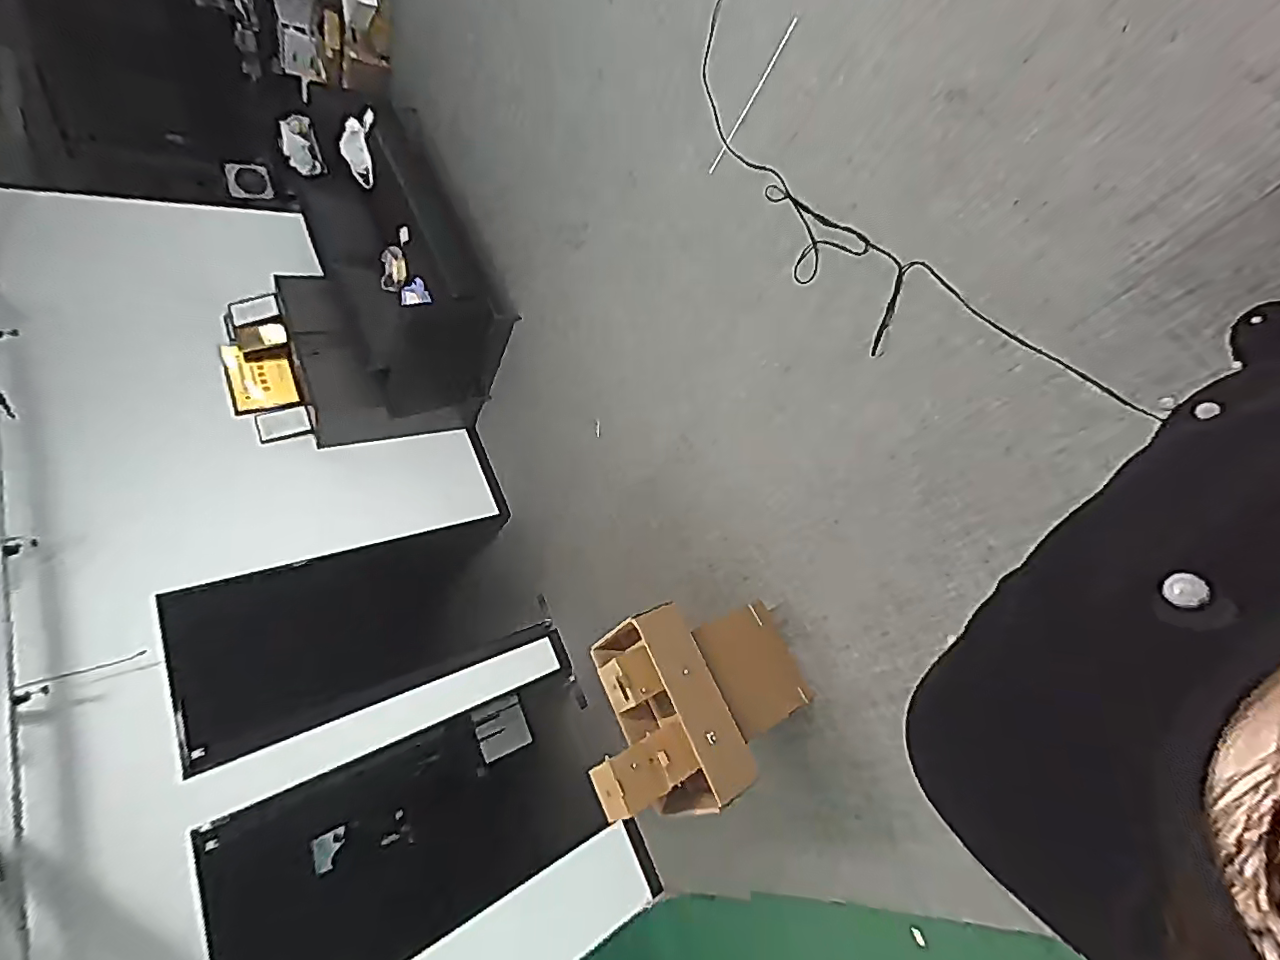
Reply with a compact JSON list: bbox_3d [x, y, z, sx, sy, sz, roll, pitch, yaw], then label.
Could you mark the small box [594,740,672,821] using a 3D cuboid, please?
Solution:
[{"bbox_3d":[-0.019,0.966,1.742,0.168,0.176,0.179,62,143,23],"label":"small box"}]
